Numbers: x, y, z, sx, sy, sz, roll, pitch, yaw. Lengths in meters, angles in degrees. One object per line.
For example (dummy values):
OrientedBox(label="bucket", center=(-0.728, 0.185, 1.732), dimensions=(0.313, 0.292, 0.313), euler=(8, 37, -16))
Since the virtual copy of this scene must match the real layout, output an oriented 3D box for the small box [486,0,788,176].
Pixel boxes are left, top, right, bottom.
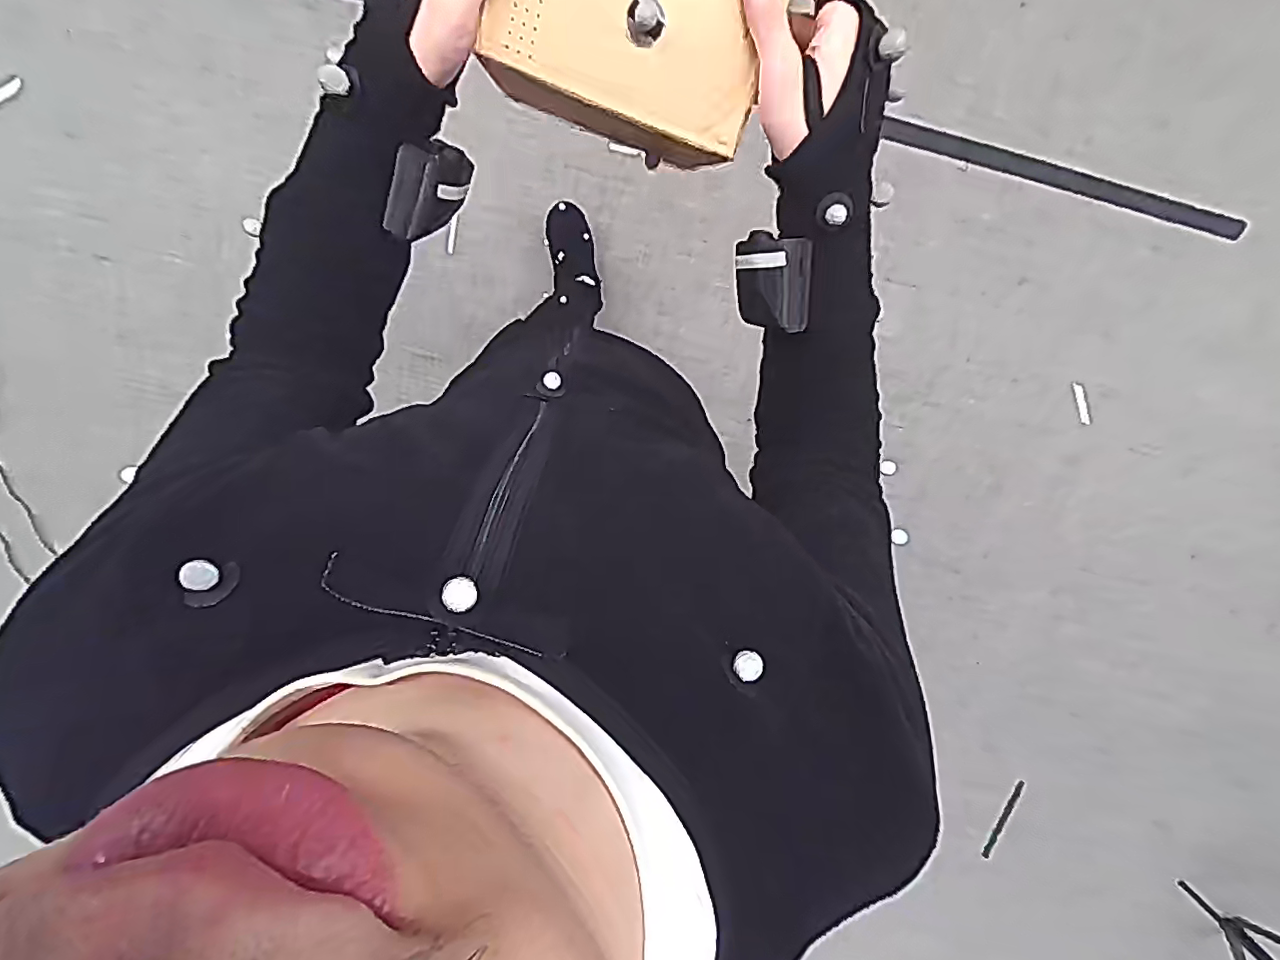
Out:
OrientedBox(label="small box", center=(-0.002, -0.335, 0.374), dimensions=(0.176, 0.179, 0.168), euler=(15, 113, -16))
